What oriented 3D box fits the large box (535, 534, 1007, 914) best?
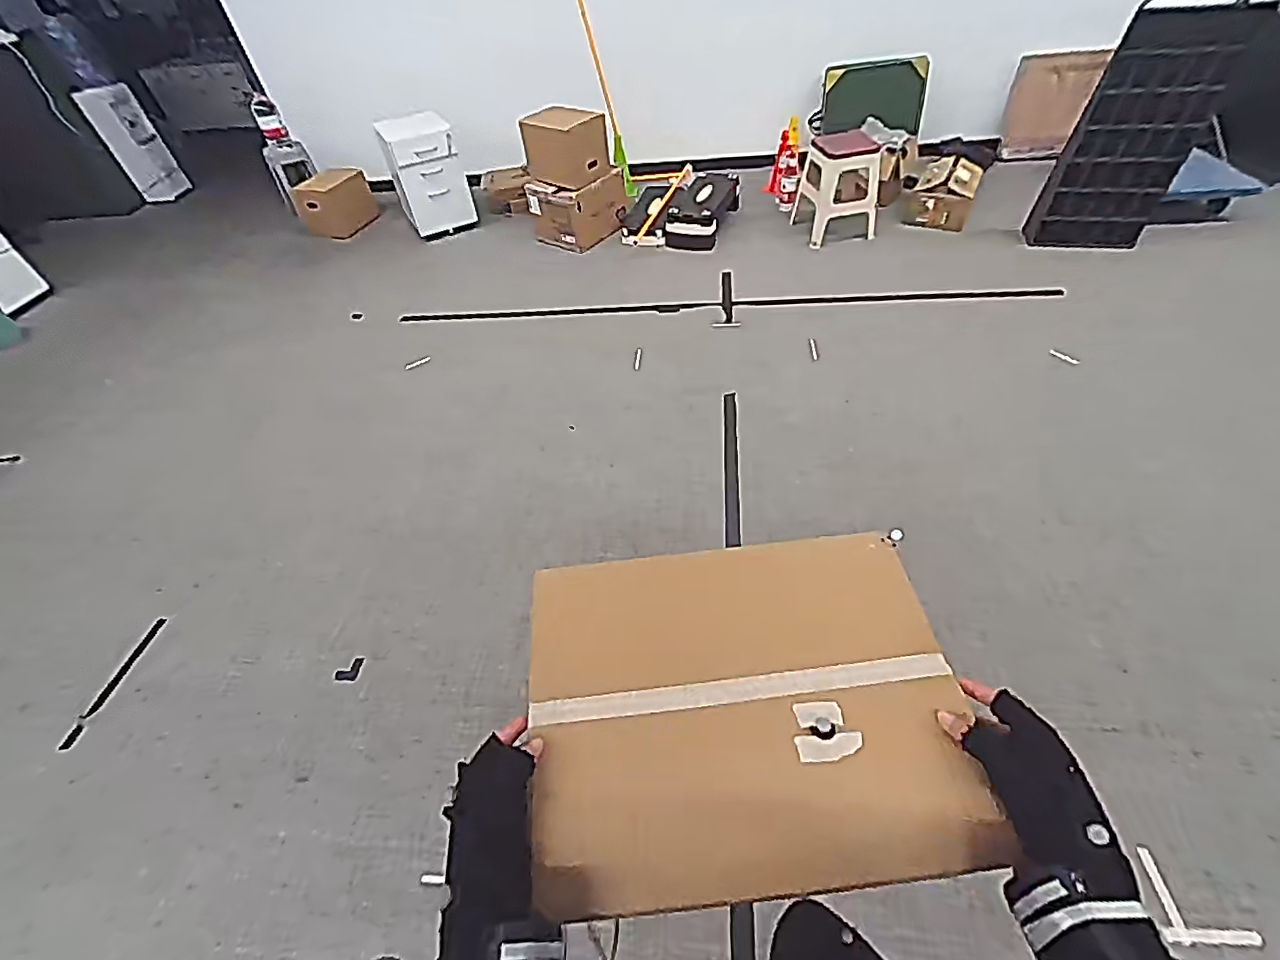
[{"bbox_3d":[0.102,0.298,0.650,0.408,0.320,0.320,-7,51,-1],"label":"large box"}]
